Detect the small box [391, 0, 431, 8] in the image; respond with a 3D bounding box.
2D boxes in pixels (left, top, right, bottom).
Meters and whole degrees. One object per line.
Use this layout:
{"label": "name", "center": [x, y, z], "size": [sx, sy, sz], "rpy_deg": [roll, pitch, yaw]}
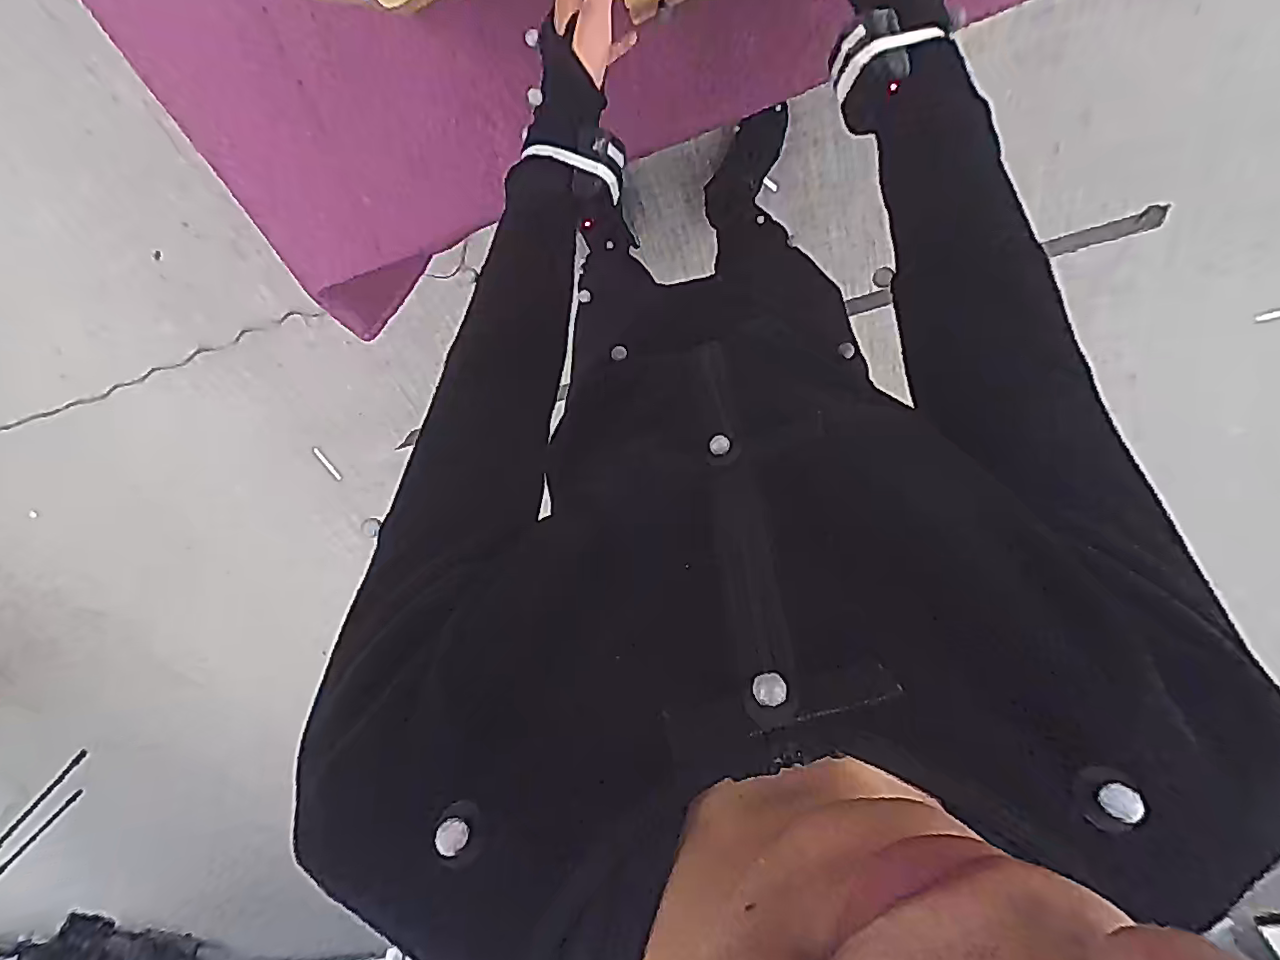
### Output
{"label": "small box", "center": [-0.207, -0.541, 0.453], "size": [0.168, 0.176, 0.179], "rpy_deg": [-15, 126, 13]}
